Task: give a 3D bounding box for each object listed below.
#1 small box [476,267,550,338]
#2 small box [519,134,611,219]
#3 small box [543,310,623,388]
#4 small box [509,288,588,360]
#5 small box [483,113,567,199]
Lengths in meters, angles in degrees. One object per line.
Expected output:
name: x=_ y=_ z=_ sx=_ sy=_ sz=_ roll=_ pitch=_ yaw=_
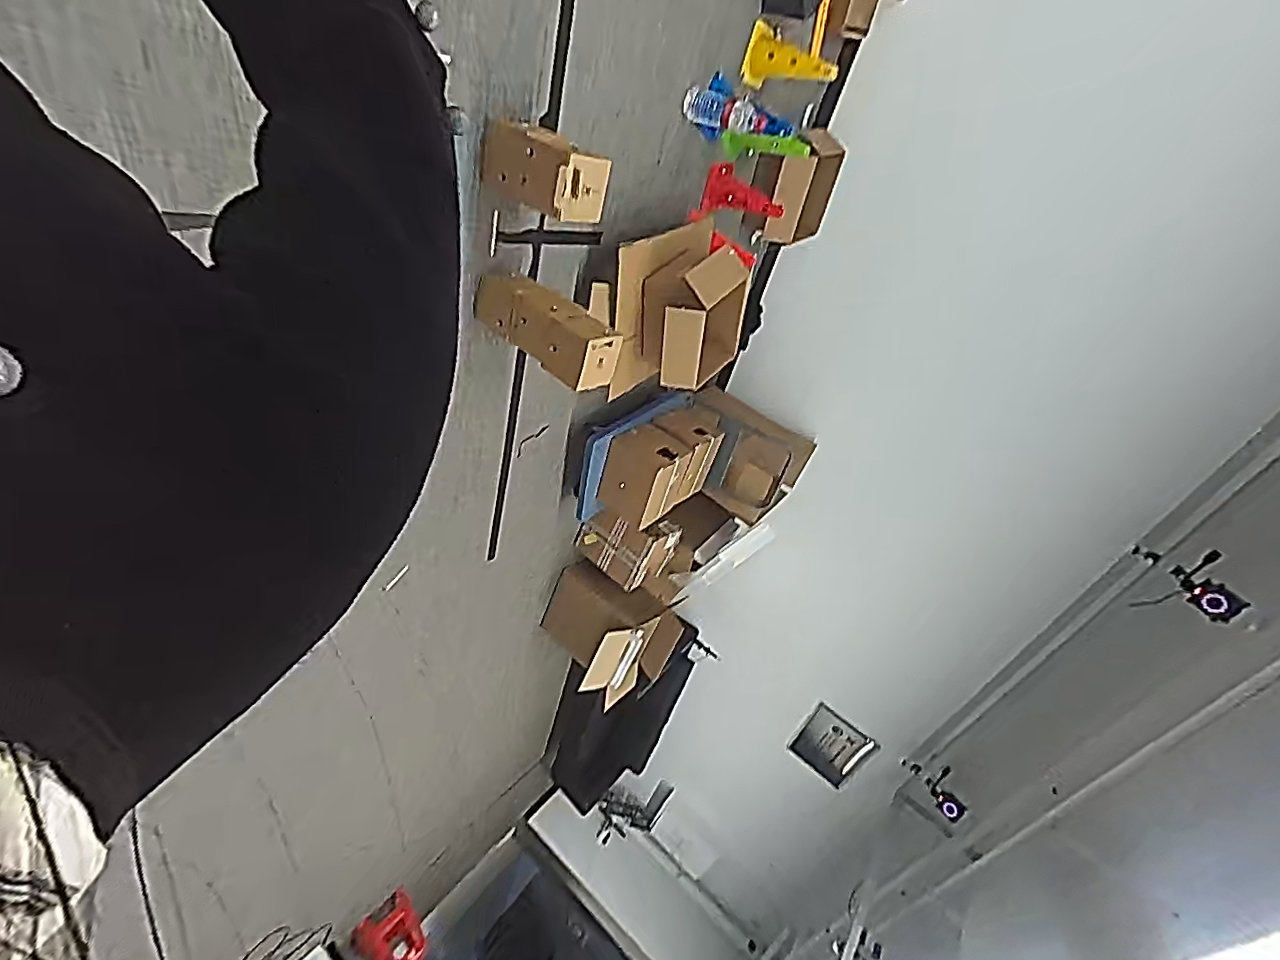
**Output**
small box: x=-0.433 y=-0.601 z=1.832 sx=0.168 sy=0.176 sz=0.179 roll=-25 pitch=144 yaw=-51
small box: x=-0.214 y=-0.842 z=1.505 sx=0.179 sy=0.176 sz=0.168 roll=-30 pitch=147 yaw=-48
small box: x=-0.187 y=-0.420 z=1.717 sx=0.168 sy=0.176 sz=0.179 roll=-26 pitch=146 yaw=-48
small box: x=-0.303 y=-0.519 z=1.780 sx=0.179 sy=0.176 sz=0.168 roll=-28 pitch=146 yaw=-47
small box: x=-0.337 y=-0.933 z=1.565 sx=0.168 sy=0.176 sz=0.179 roll=-32 pitch=147 yaw=-46
